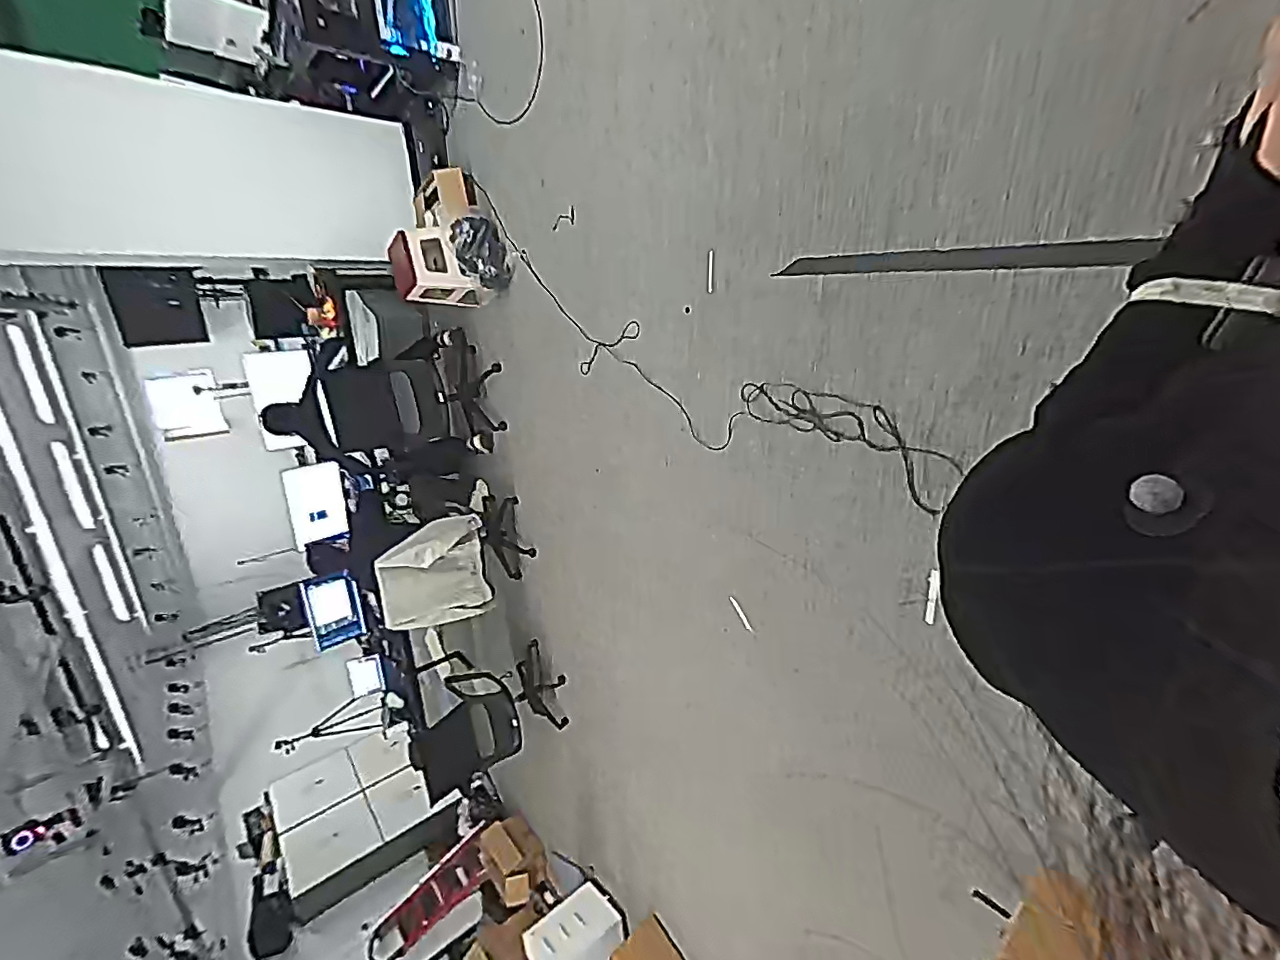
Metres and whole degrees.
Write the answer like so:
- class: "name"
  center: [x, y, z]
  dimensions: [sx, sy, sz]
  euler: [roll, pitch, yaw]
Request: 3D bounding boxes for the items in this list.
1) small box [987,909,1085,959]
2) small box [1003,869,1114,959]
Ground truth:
- class: "small box"
  center: [0.981, 1.229, 1.333]
  dimensions: [0.179, 0.176, 0.168]
  euler: [31, 125, 40]
- class: "small box"
  center: [1.104, 1.183, 1.432]
  dimensions: [0.179, 0.176, 0.168]
  euler: [28, 123, 42]
